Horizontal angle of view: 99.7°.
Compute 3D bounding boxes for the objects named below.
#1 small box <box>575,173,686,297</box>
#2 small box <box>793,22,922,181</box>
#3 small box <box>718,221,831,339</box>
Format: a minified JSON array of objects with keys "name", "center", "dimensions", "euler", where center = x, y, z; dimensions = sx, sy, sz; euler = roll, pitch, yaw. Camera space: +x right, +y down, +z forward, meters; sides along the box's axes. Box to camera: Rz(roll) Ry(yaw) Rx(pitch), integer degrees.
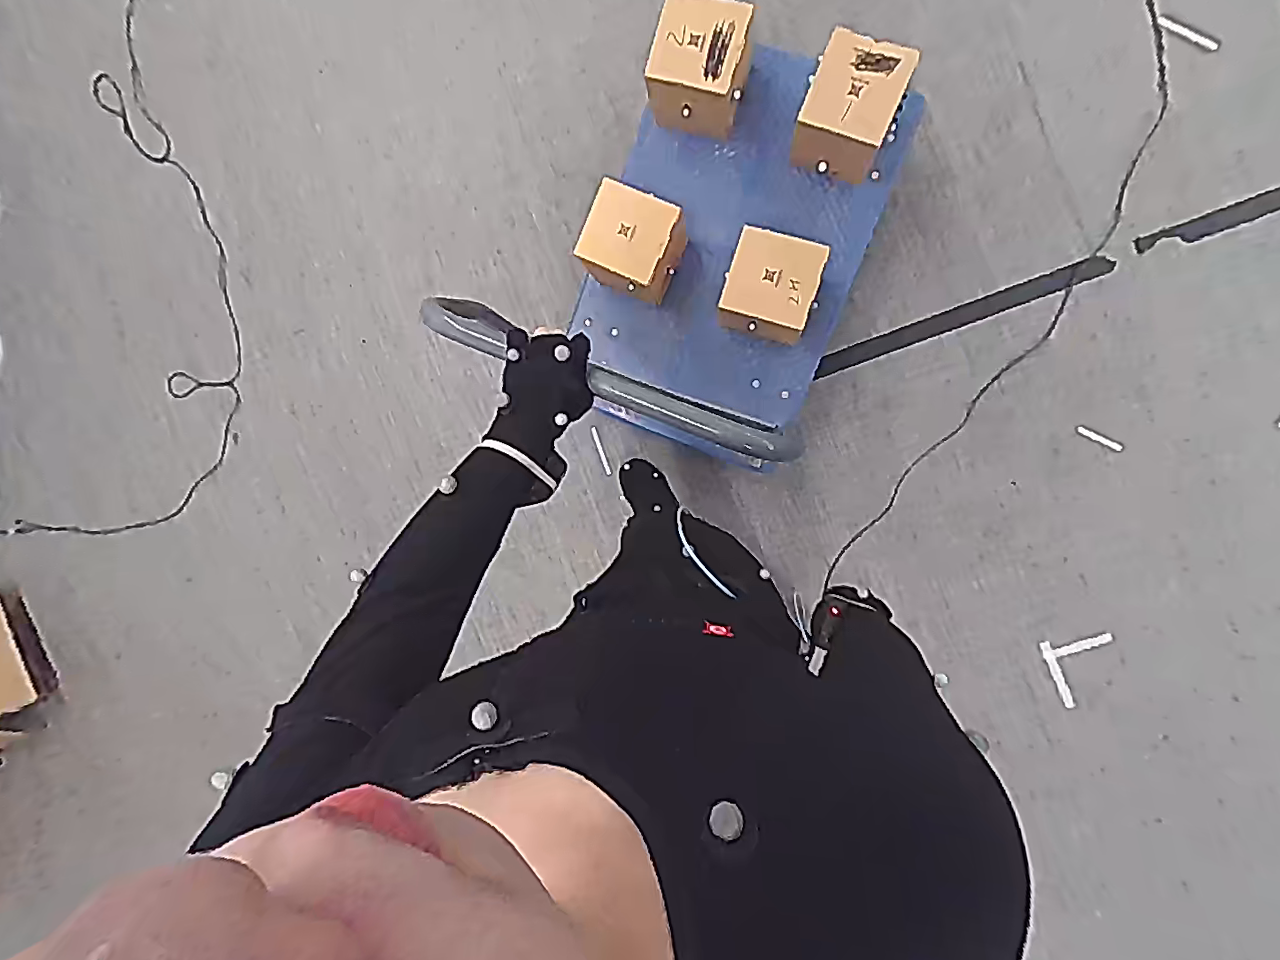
[{"name":"small box","center":[-0.014,-0.517,1.169],"dimensions":[0.179,0.176,0.168],"euler":[25,98,5]},{"name":"small box","center":[0.419,-0.742,1.078],"dimensions":[0.168,0.176,0.179],"euler":[24,99,7]},{"name":"small box","center":[0.273,-0.406,1.128],"dimensions":[0.179,0.176,0.168],"euler":[19,97,8]}]
